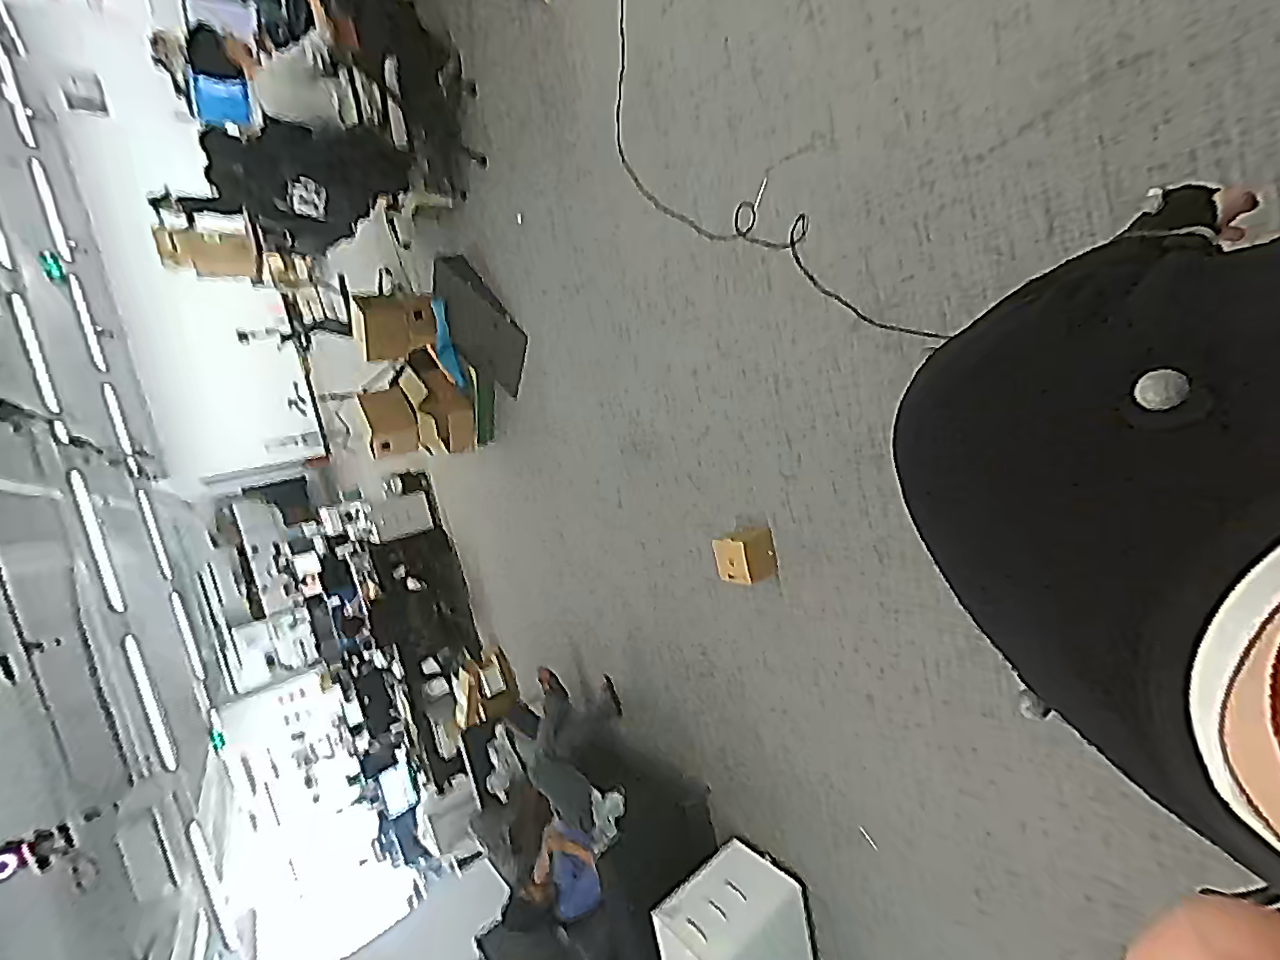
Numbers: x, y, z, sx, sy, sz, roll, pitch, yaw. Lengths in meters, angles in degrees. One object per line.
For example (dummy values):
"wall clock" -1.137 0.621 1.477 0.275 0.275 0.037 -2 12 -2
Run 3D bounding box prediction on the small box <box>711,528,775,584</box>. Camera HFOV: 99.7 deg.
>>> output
"small box" 0.412 0.297 2.155 0.168 0.176 0.179 -4 101 54
